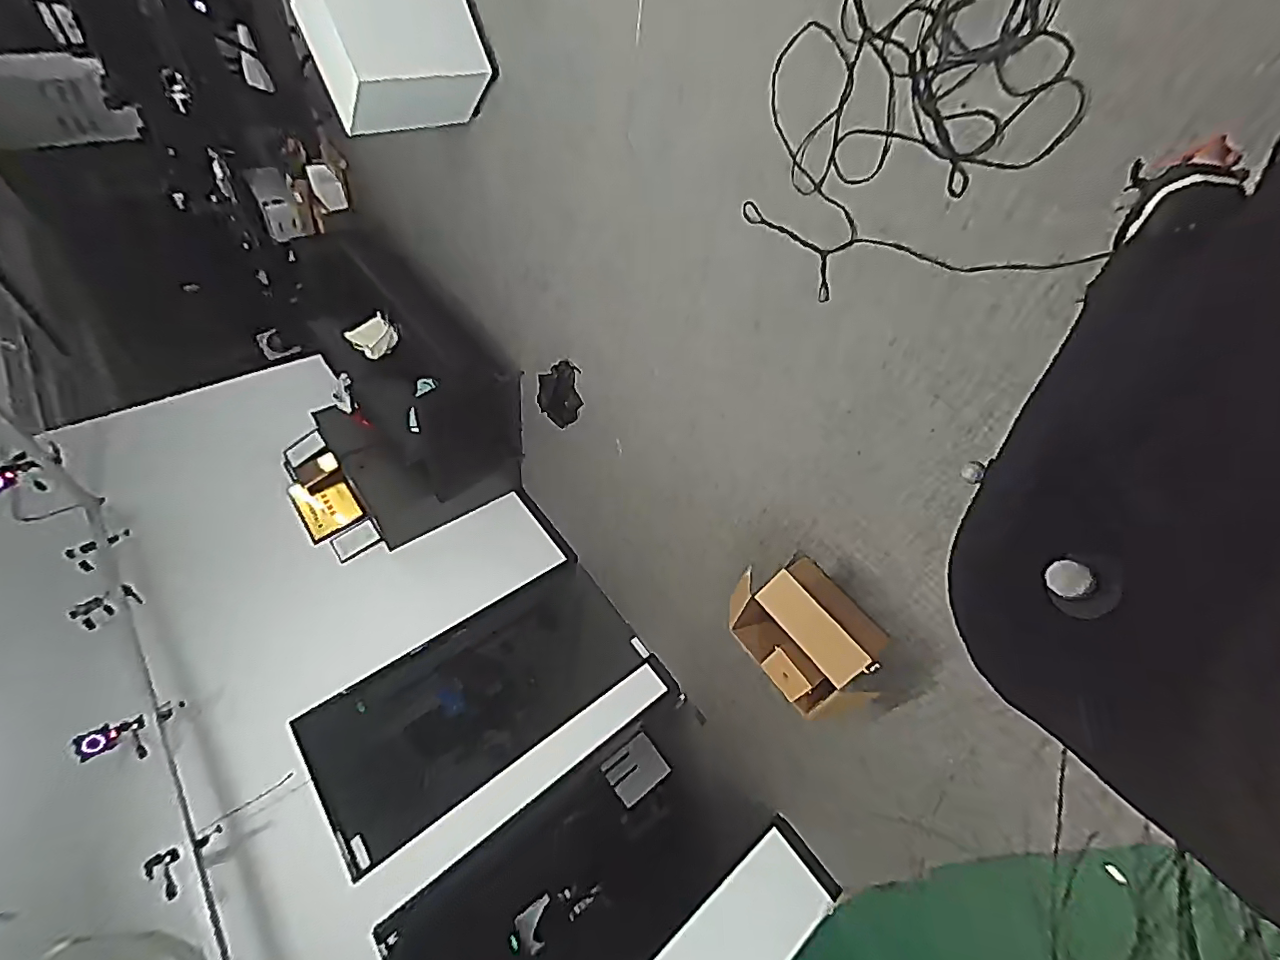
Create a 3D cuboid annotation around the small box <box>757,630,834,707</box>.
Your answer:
[{"bbox_3d":[0.556,0.670,1.926,0.168,0.176,0.179,50,146,24],"label":"small box"}]
